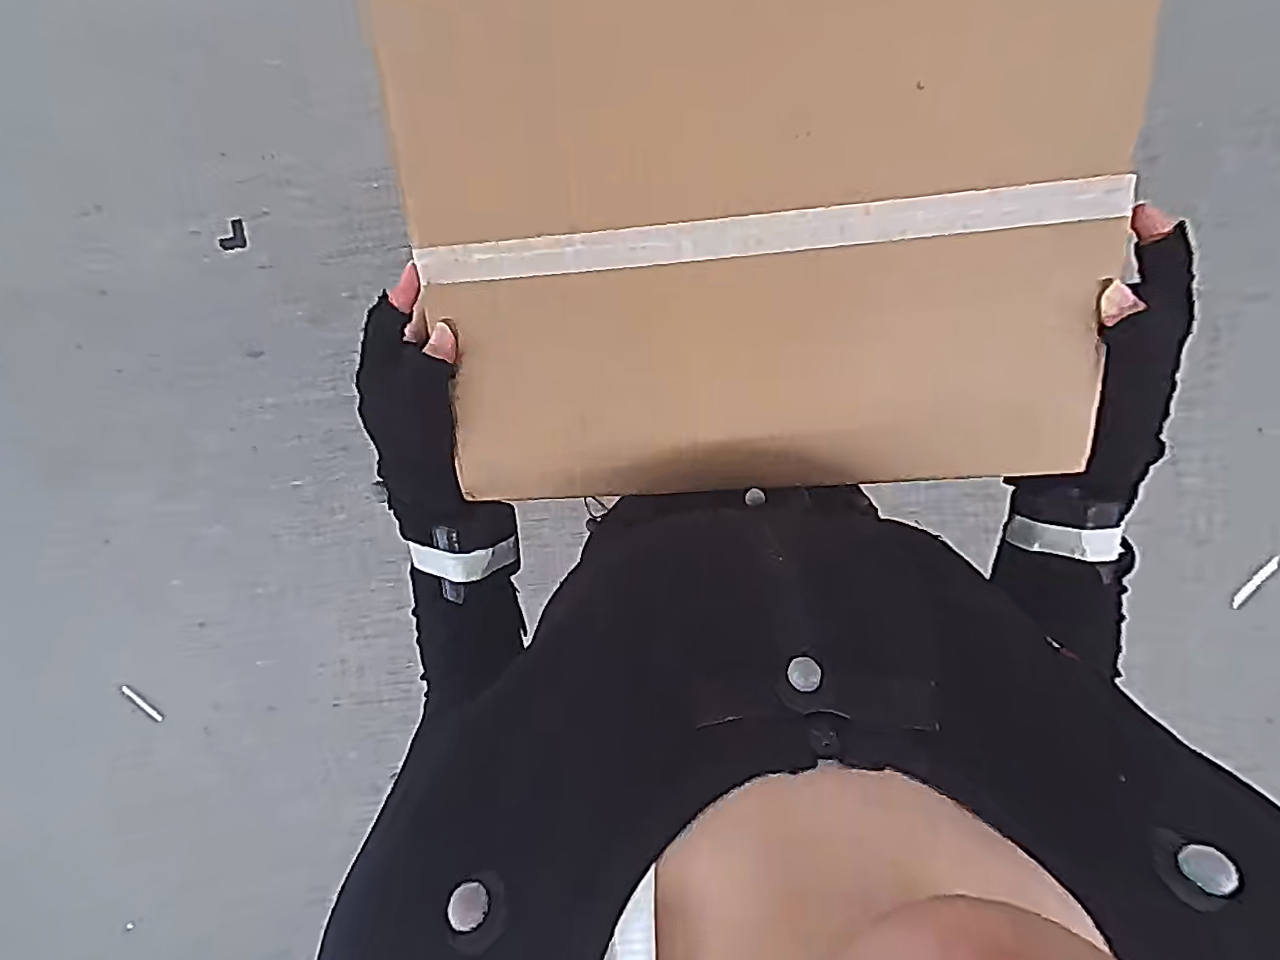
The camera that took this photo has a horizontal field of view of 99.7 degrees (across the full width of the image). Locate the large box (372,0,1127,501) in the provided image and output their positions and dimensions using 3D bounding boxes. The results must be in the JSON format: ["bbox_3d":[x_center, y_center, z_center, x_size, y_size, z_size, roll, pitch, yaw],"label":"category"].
[{"bbox_3d":[0.072,-0.190,0.466,0.408,0.320,0.320,-3,107,6],"label":"large box"}]
